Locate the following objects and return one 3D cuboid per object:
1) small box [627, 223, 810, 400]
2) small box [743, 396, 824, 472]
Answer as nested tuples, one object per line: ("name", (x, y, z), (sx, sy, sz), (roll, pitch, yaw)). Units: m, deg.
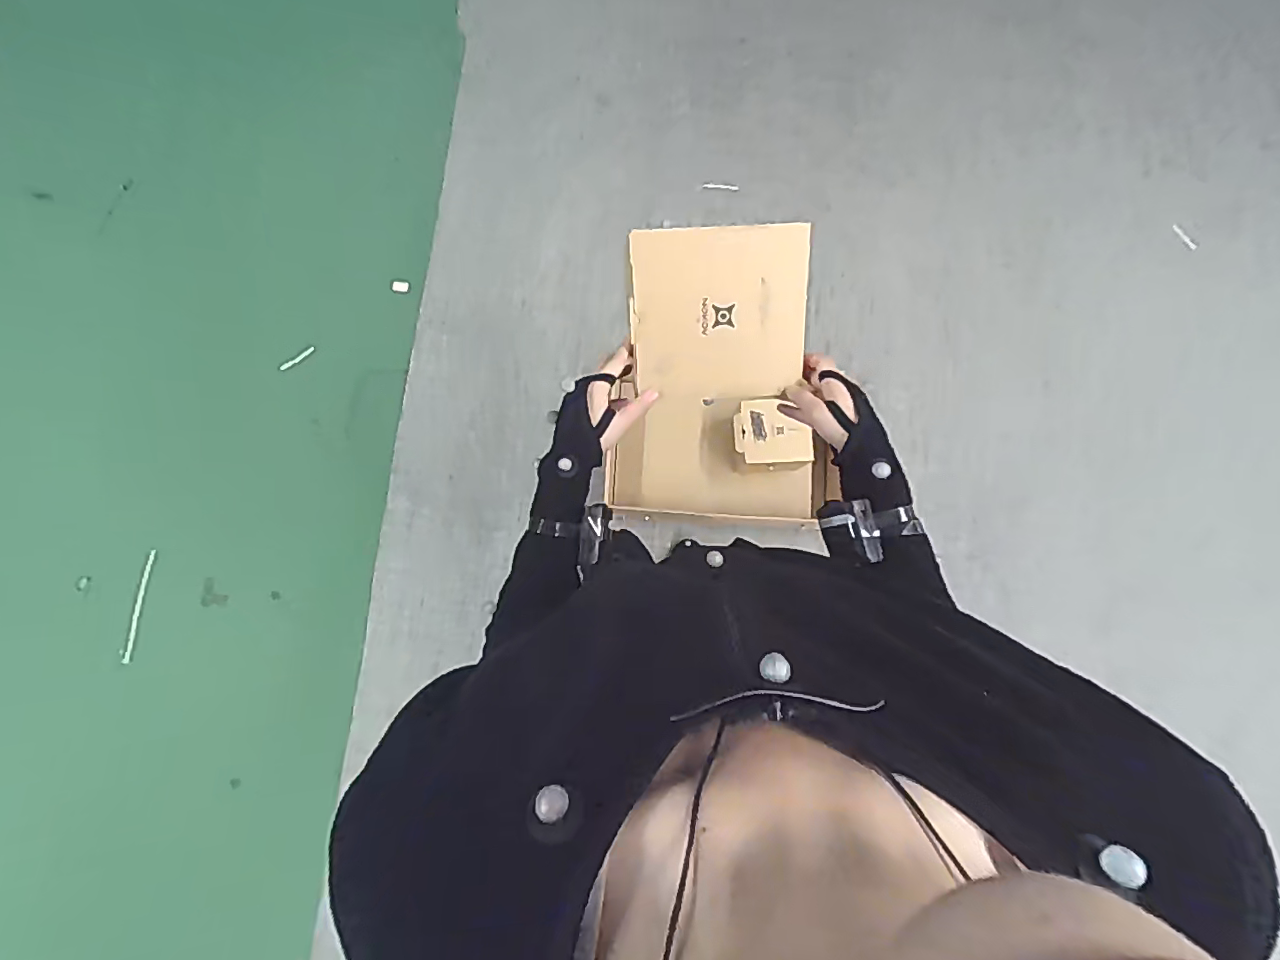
("small box", (0.077, -0.188, 0.612), (0.179, 0.176, 0.168), (-4, 110, -1))
("small box", (0.370, -0.116, 1.427), (0.179, 0.176, 0.168), (-3, 82, 2))
